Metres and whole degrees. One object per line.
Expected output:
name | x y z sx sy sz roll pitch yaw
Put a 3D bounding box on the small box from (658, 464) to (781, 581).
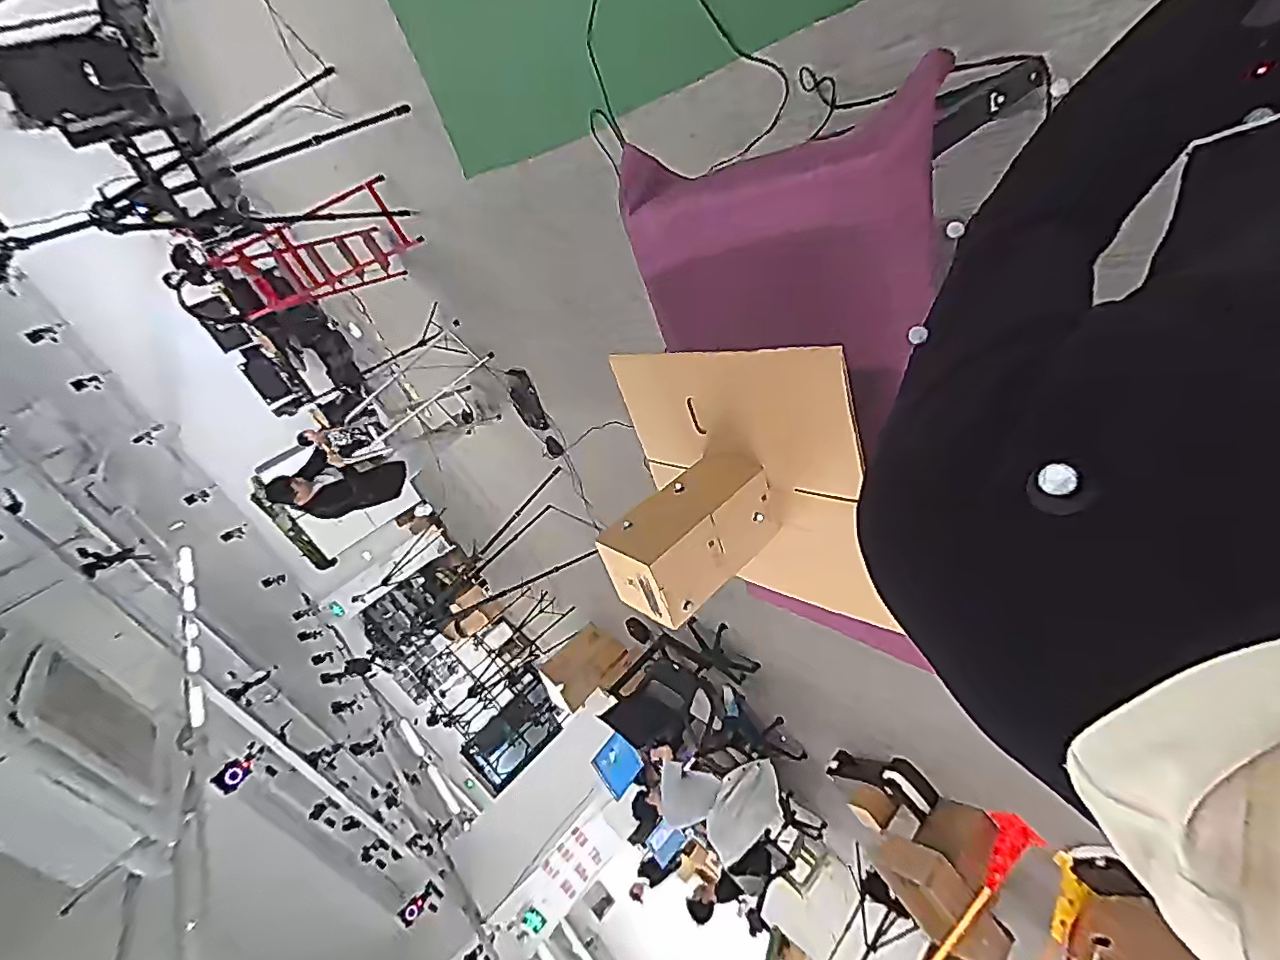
small box | 0.172 0.082 1.159 0.179 0.176 0.168 14 133 48
